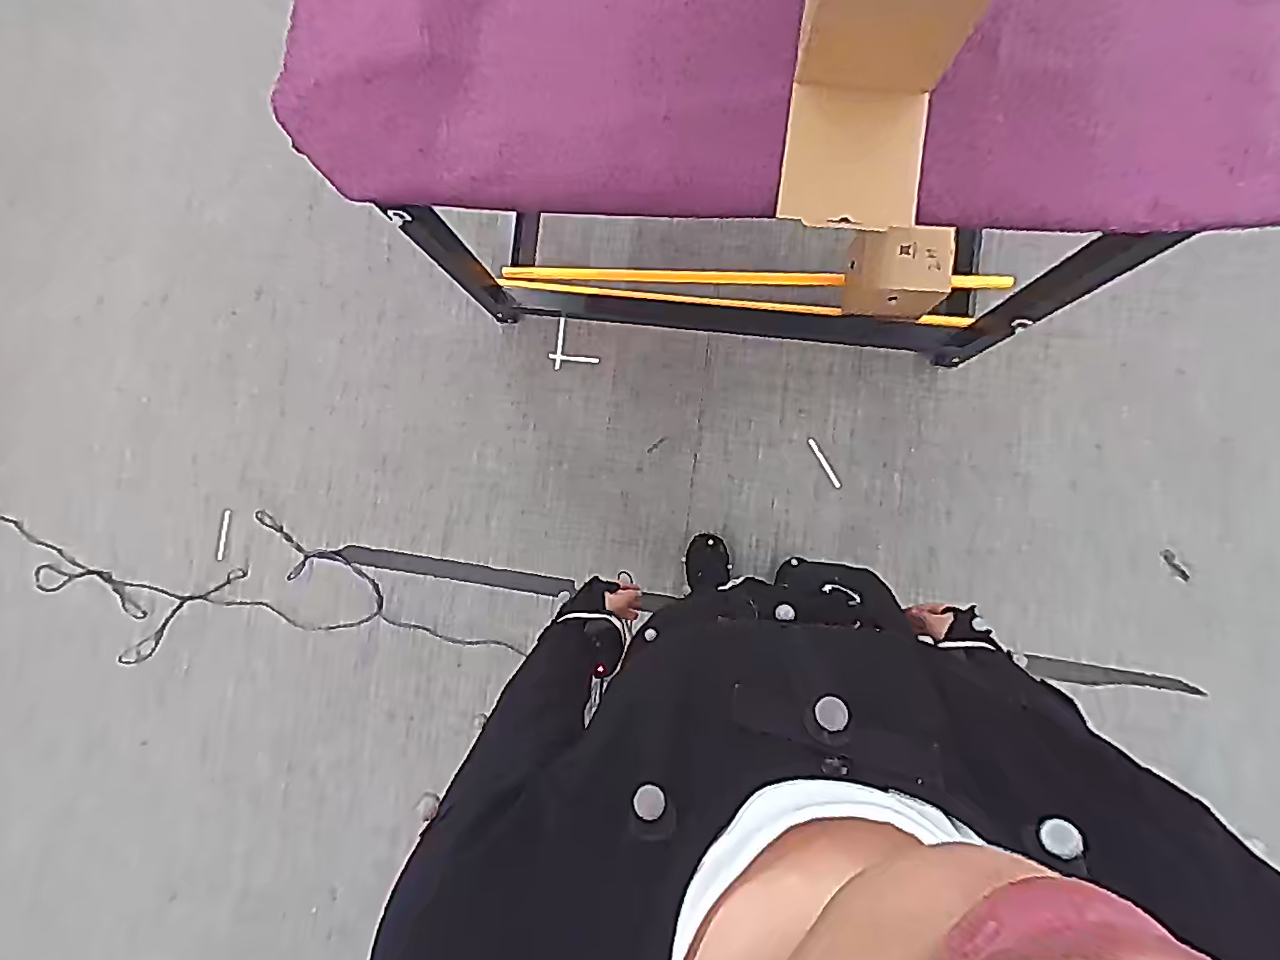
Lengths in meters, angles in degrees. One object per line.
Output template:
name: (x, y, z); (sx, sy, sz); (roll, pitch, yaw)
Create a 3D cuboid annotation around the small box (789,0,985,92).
small box: (0.265, -0.555, 0.570); (0.168, 0.179, 0.176); (8, 95, 4)

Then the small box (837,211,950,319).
small box: (0.539, -0.460, 1.175); (0.179, 0.176, 0.168); (5, 88, 6)
